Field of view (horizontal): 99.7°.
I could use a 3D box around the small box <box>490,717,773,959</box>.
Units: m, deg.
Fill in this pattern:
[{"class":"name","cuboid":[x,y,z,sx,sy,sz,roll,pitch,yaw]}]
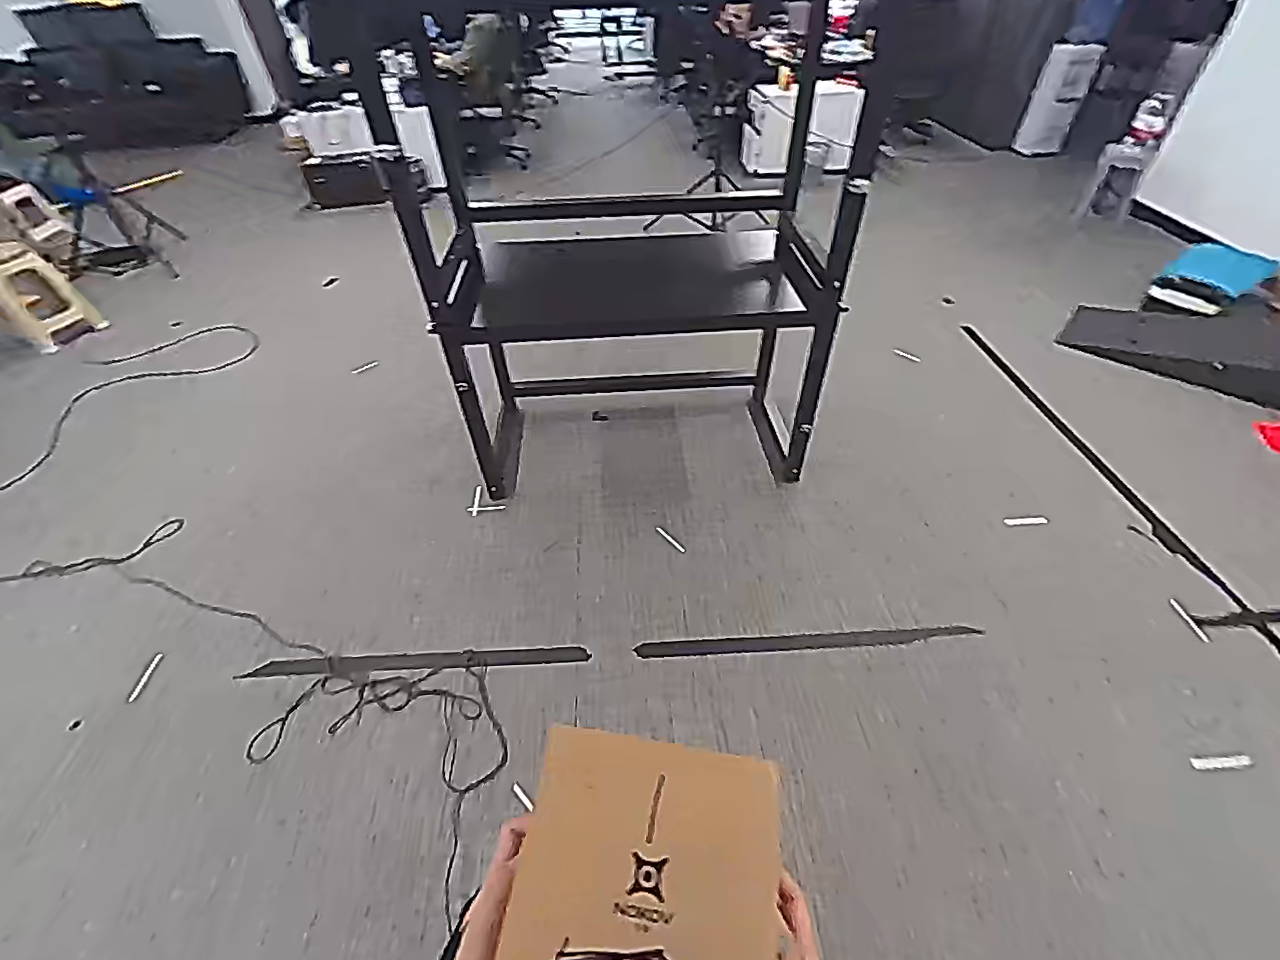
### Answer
[{"class":"small box","cuboid":[0.002,0.299,0.401,0.168,0.176,0.179,6,53,5]}]
